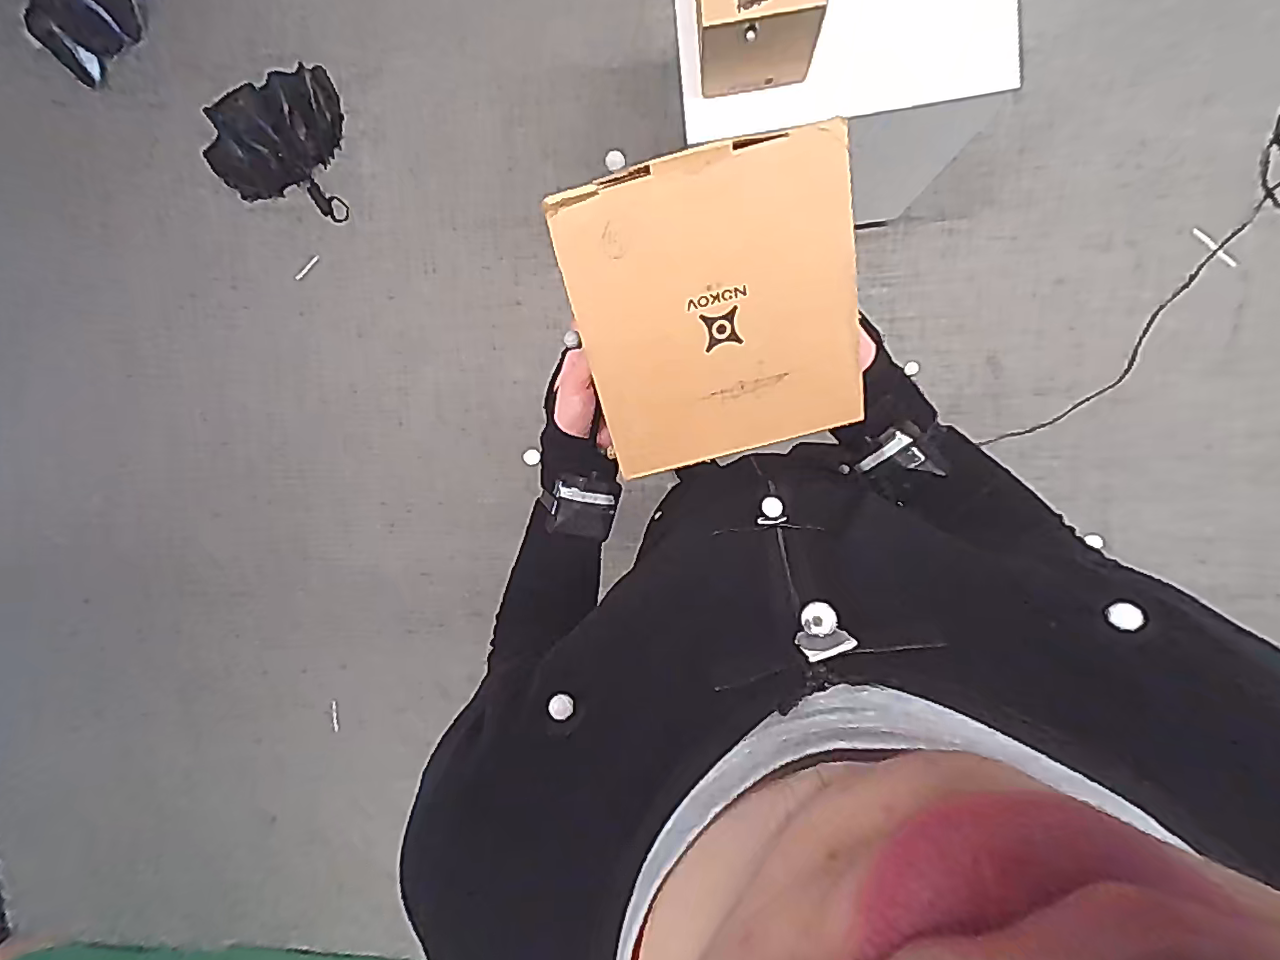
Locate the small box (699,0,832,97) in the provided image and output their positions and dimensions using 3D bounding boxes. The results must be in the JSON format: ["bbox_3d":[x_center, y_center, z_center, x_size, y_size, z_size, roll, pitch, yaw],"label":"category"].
[{"bbox_3d":[0.170,-0.699,0.776,0.168,0.176,0.179,-4,95,8],"label":"small box"}]

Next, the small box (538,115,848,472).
[{"bbox_3d":[0.035,-0.134,0.393,0.168,0.176,0.179,-13,118,3],"label":"small box"}]
